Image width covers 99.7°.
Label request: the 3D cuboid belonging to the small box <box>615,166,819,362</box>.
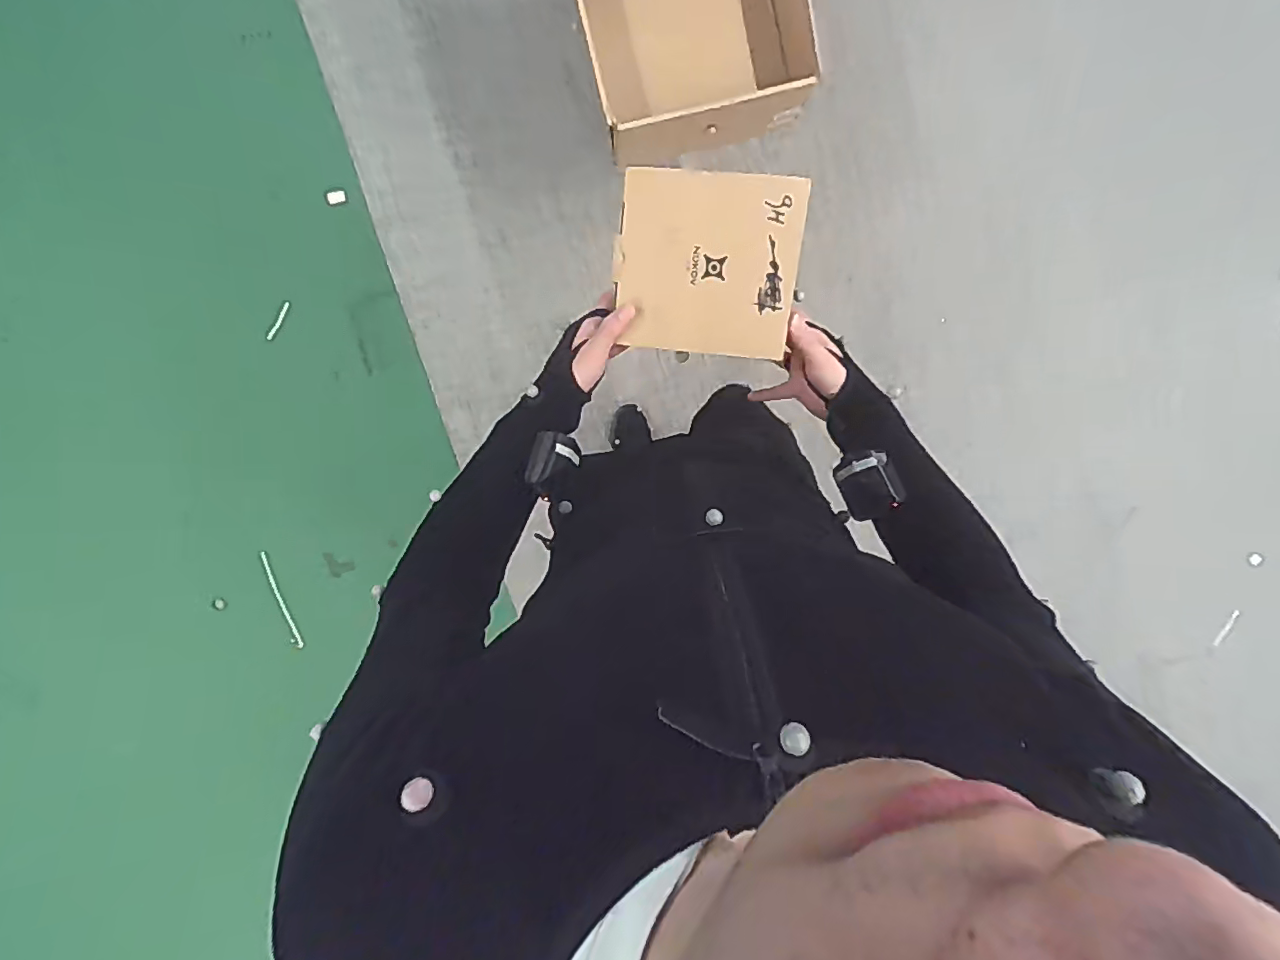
[{"bbox_3d":[0.081,-0.224,0.595,0.179,0.176,0.168,8,106,6],"label":"small box"}]
